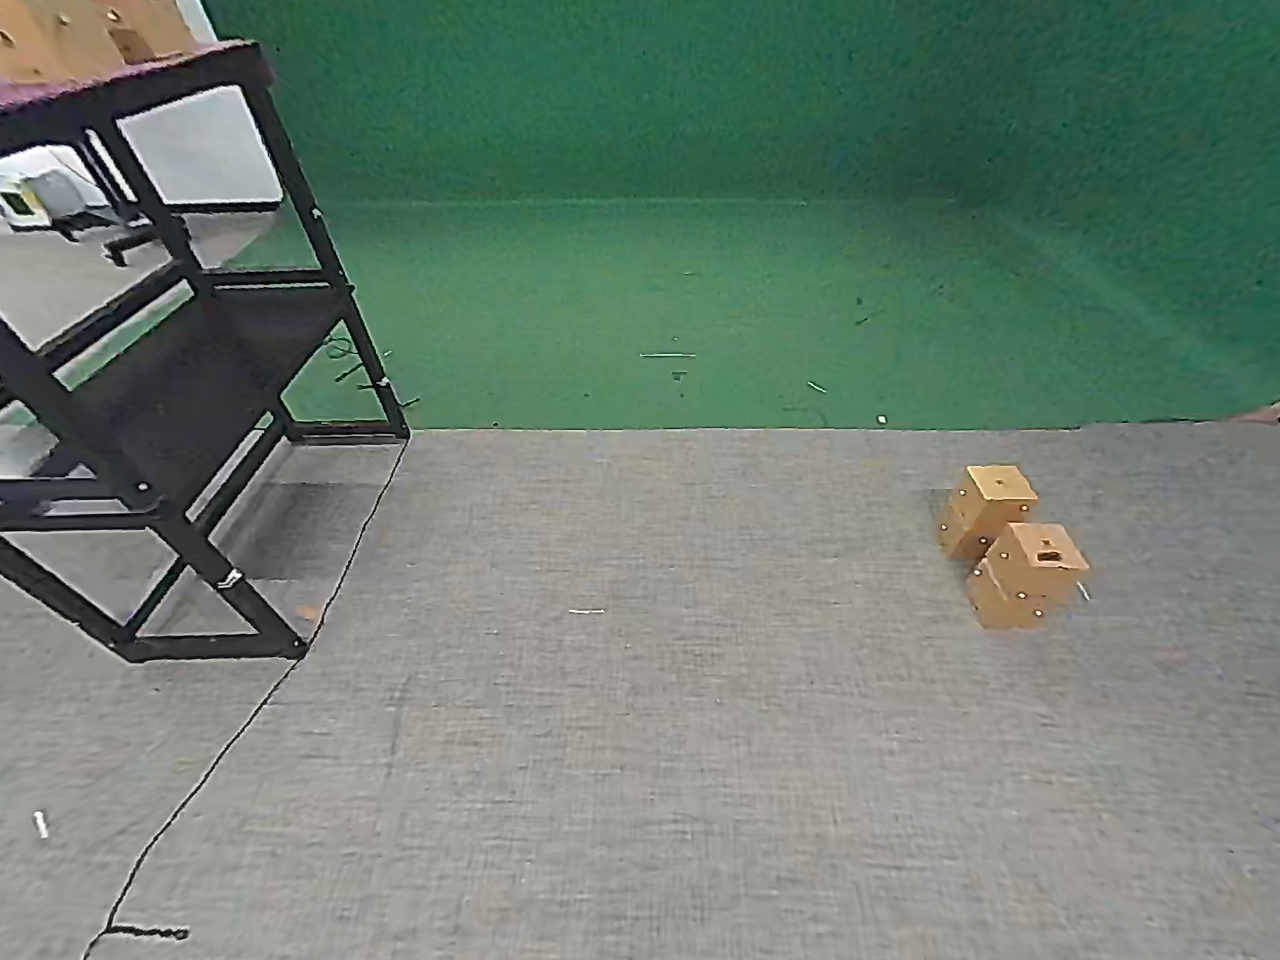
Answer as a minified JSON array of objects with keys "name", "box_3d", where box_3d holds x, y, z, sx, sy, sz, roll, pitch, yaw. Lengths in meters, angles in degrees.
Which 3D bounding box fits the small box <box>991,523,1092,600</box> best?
[{"name":"small box","box_3d":[1.244,0.258,1.690,0.168,0.176,0.179,3,44,4]}]

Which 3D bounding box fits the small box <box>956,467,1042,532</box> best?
[{"name":"small box","box_3d":[1.237,0.070,1.885,0.179,0.176,0.168,0,44,1]}]

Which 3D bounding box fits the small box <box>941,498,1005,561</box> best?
[{"name":"small box","box_3d":[1.242,0.184,1.999,0.179,0.176,0.168,1,45,4]}]

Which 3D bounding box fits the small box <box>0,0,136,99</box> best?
[{"name":"small box","box_3d":[-1.275,-0.944,1.176,0.168,0.176,0.179,0,45,3]}]

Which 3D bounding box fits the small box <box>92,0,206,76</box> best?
[{"name":"small box","box_3d":[-1.287,-1.160,1.398,0.168,0.176,0.179,1,45,5]}]
